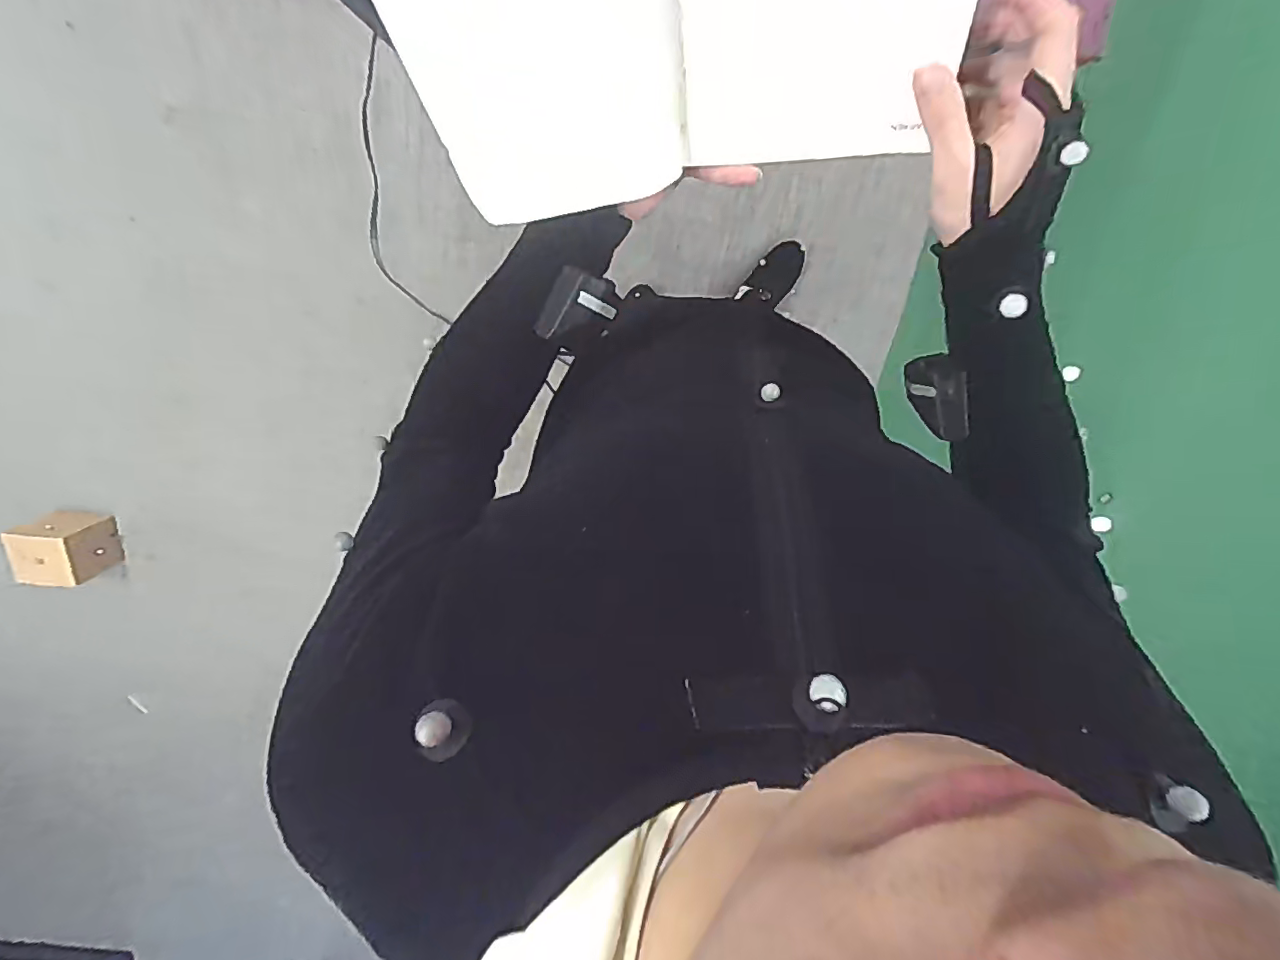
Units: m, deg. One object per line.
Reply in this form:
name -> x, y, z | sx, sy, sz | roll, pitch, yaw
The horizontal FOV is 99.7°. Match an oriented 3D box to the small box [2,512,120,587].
small box -> -1.744, 0.207, 1.646 | 0.179, 0.176, 0.168 | 6, 109, -2
